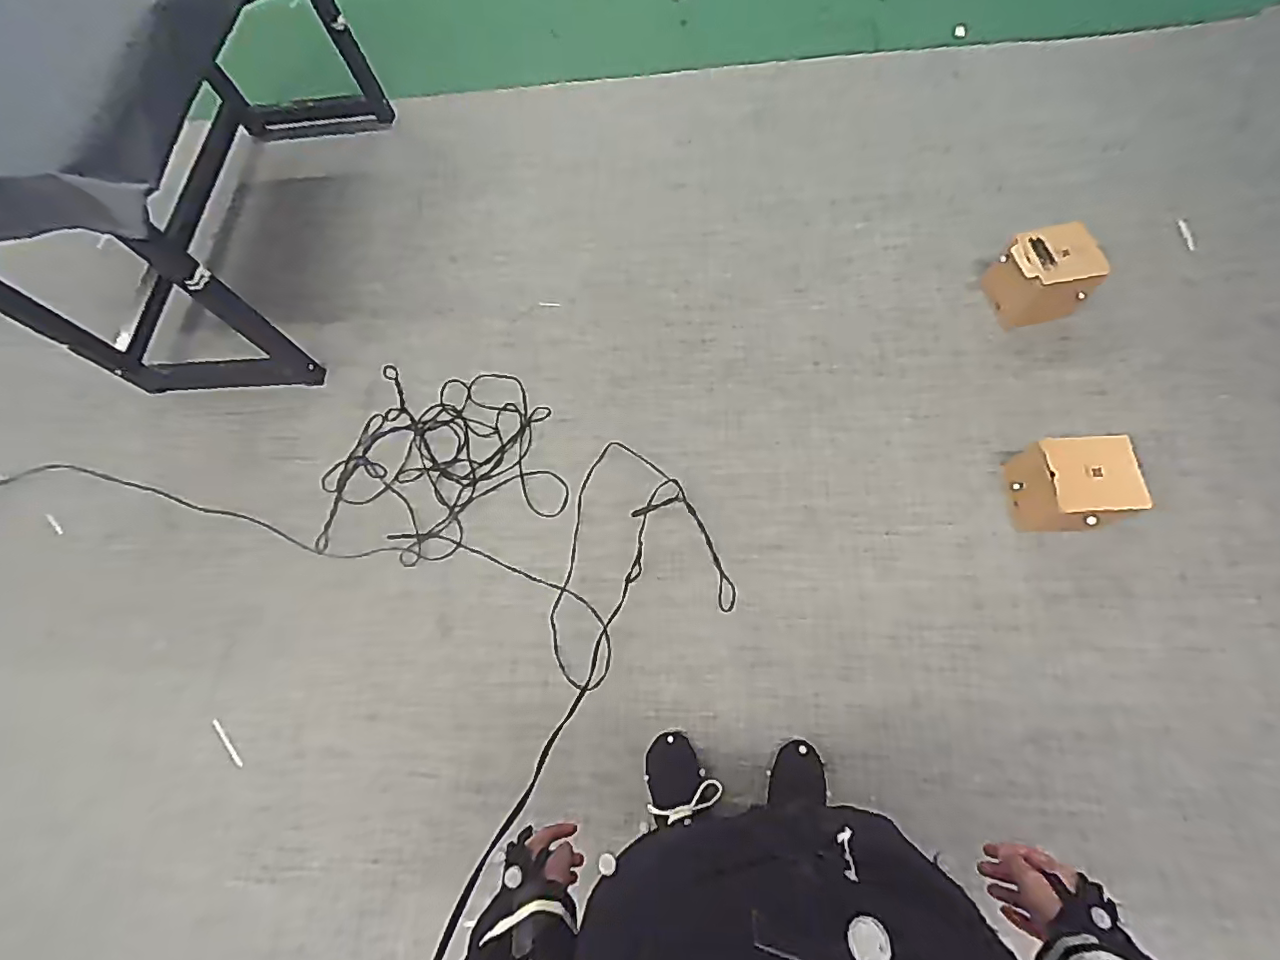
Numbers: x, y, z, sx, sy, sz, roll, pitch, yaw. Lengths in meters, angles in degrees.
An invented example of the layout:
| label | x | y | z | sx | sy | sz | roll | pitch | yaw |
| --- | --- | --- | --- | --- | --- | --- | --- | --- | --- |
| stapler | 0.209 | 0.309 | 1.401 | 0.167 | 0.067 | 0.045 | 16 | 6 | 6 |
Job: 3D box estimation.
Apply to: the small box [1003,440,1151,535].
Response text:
| label | x | y | z | sx | sy | sz | roll | pitch | yaw |
| --- | --- | --- | --- | --- | --- | --- | --- | --- | --- |
| small box | 0.955 | 0.022 | 1.199 | 0.179 | 0.176 | 0.168 | -3 | 69 | 6 |
